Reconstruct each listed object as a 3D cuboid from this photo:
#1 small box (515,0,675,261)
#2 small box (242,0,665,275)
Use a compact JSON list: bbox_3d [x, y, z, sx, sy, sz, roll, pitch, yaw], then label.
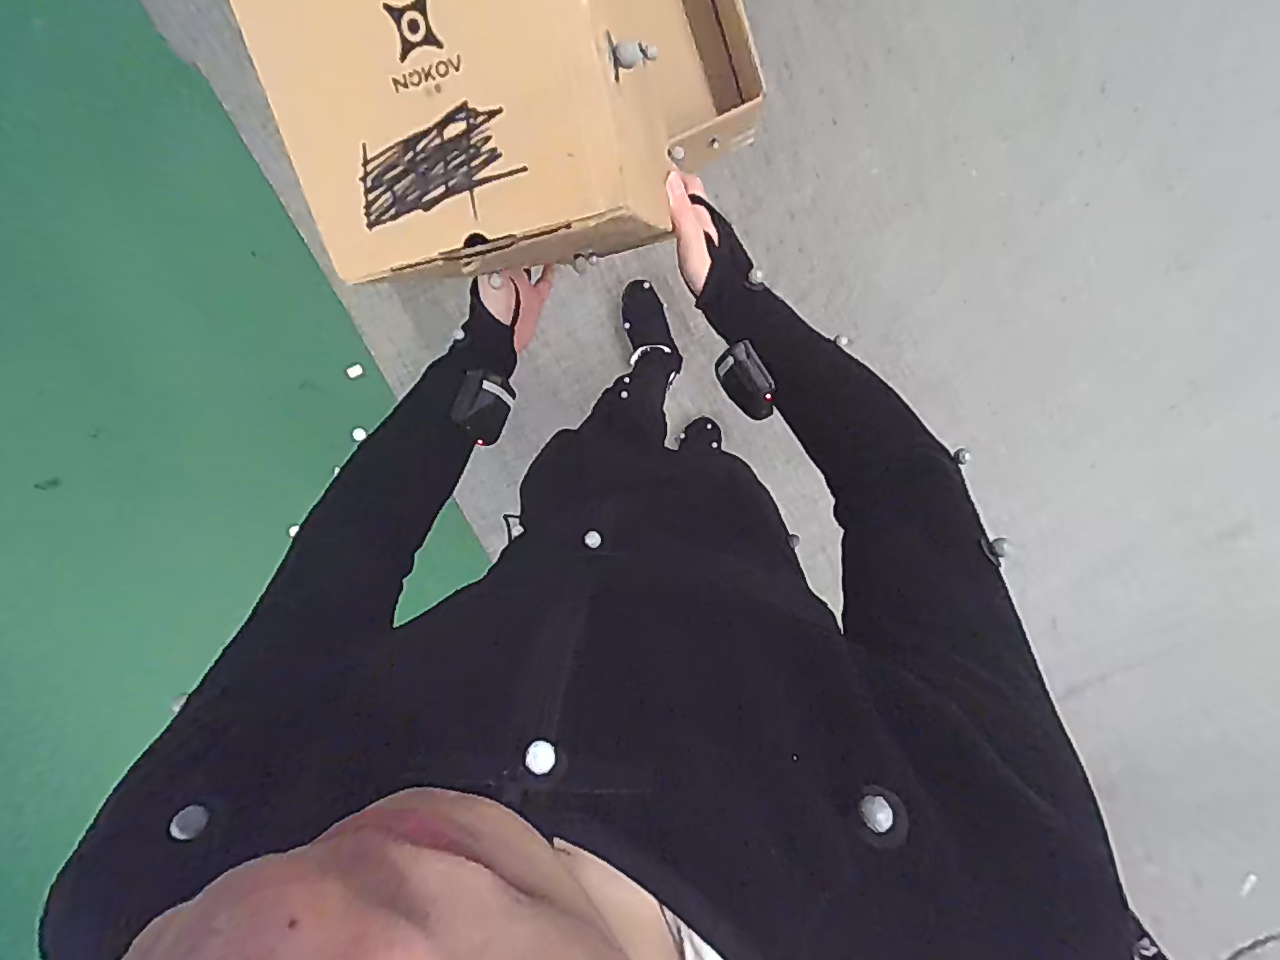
[{"bbox_3d":[-0.066,-0.294,0.463,0.168,0.176,0.179,-8,111,11],"label":"small box"},{"bbox_3d":[-0.084,-0.228,0.314,0.168,0.176,0.179,-8,110,11],"label":"small box"}]
